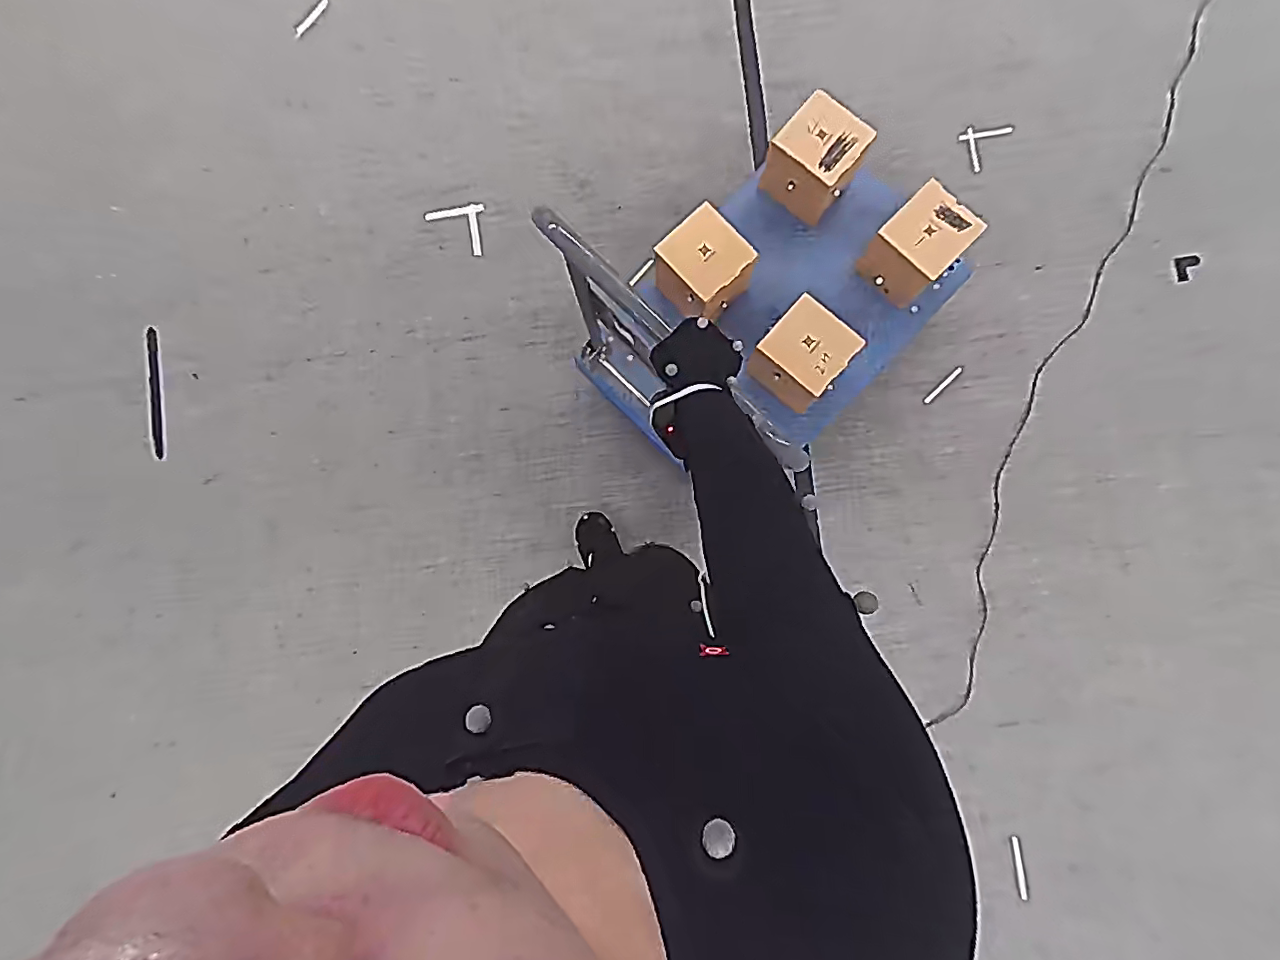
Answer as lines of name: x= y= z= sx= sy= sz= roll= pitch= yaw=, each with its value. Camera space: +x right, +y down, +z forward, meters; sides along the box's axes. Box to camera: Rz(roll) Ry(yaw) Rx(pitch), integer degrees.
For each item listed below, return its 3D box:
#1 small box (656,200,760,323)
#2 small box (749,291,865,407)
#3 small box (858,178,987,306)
small box: x=0.152 y=-0.507 z=1.280 sx=0.168 sy=0.176 sz=0.179 roll=-42 pitch=87 yaw=-2
small box: x=0.375 y=-0.292 z=1.253 sx=0.179 sy=0.176 sz=0.168 roll=42 pitch=88 yaw=5
small box: x=0.647 y=-0.547 z=1.264 sx=0.179 sy=0.176 sz=0.168 roll=-45 pitch=85 yaw=-1
